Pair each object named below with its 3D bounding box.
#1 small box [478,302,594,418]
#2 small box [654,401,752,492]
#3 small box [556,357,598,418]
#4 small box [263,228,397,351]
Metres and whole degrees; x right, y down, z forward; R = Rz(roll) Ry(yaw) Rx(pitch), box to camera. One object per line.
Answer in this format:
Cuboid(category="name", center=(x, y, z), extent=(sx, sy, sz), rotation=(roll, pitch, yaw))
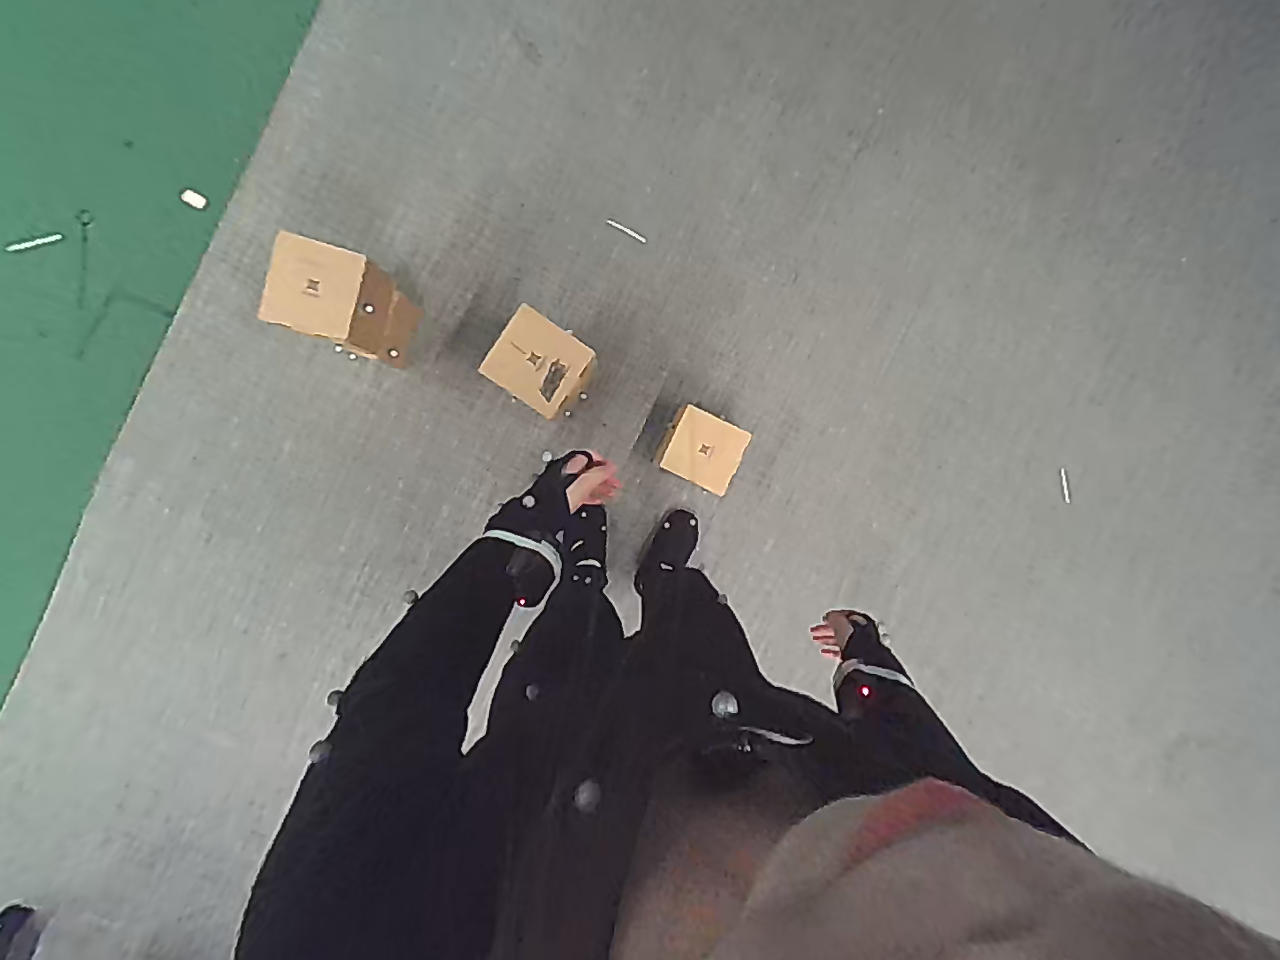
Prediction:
Cuboid(category="small box", center=(-0.210, -0.245, 1.153), extent=(0.179, 0.176, 0.168), rotation=(34, 91, -5))
Cuboid(category="small box", center=(0.149, -0.082, 1.362), extent=(0.179, 0.176, 0.168), rotation=(25, 92, -7))
Cuboid(category="small box", center=(-0.219, -0.264, 1.318), extent=(0.179, 0.176, 0.168), rotation=(33, 90, -7))
Cuboid(category="small box", center=(-0.626, -0.378, 1.112), extent=(0.168, 0.176, 0.179), rotation=(16, 92, -6))
